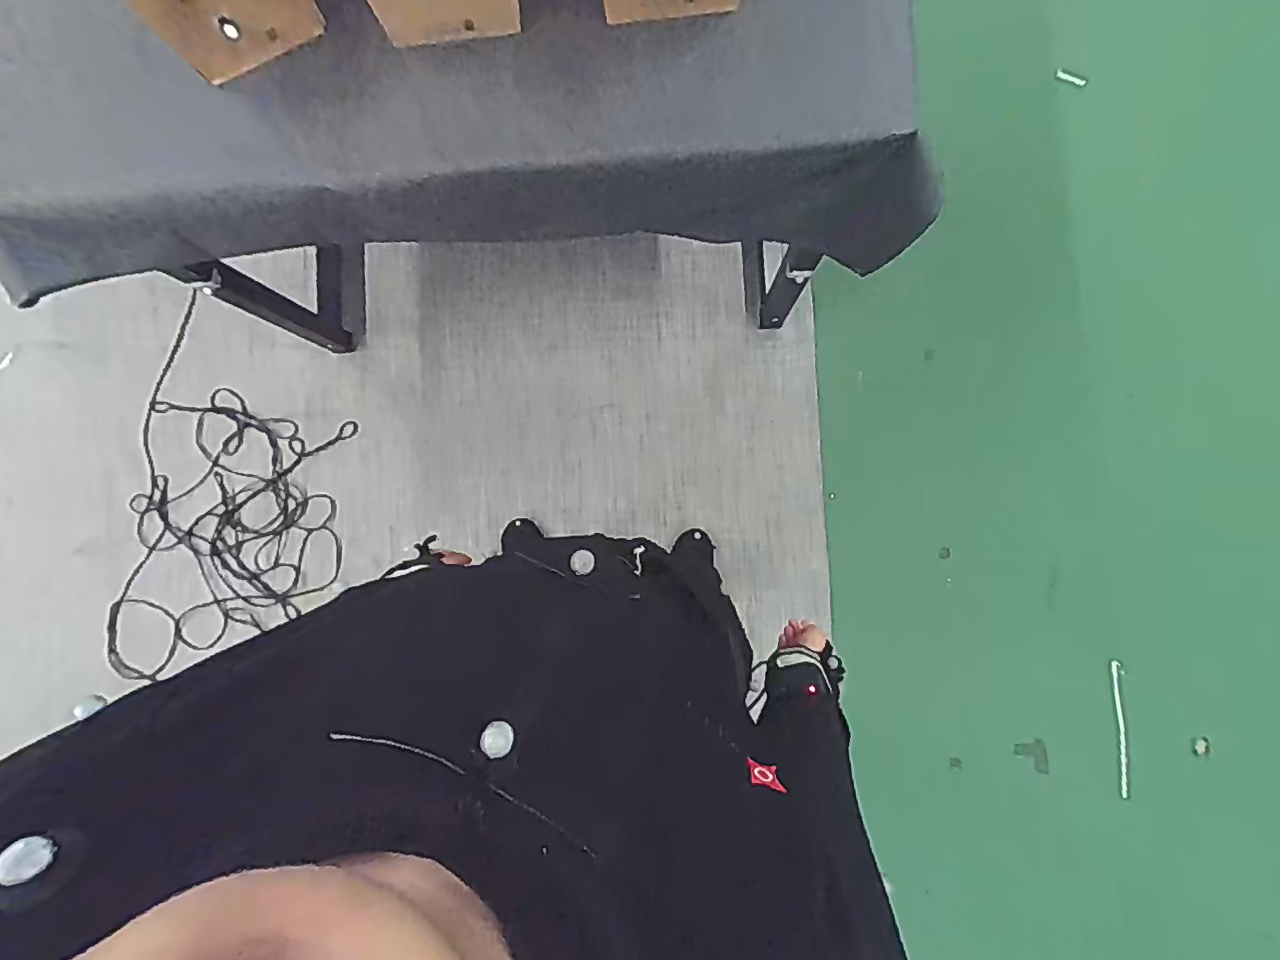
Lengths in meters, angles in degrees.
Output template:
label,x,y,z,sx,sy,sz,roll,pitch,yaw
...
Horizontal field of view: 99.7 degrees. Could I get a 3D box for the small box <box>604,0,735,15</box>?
label,x,y,z,sx,sy,sz,roll,pitch,yaw
small box,0.030,-0.661,0.596,0.168,0.176,0.179,-4,85,2

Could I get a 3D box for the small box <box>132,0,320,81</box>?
label,x,y,z,sx,sy,sz,roll,pitch,yaw
small box,-0.517,-0.624,0.622,0.168,0.176,0.179,-26,86,1
